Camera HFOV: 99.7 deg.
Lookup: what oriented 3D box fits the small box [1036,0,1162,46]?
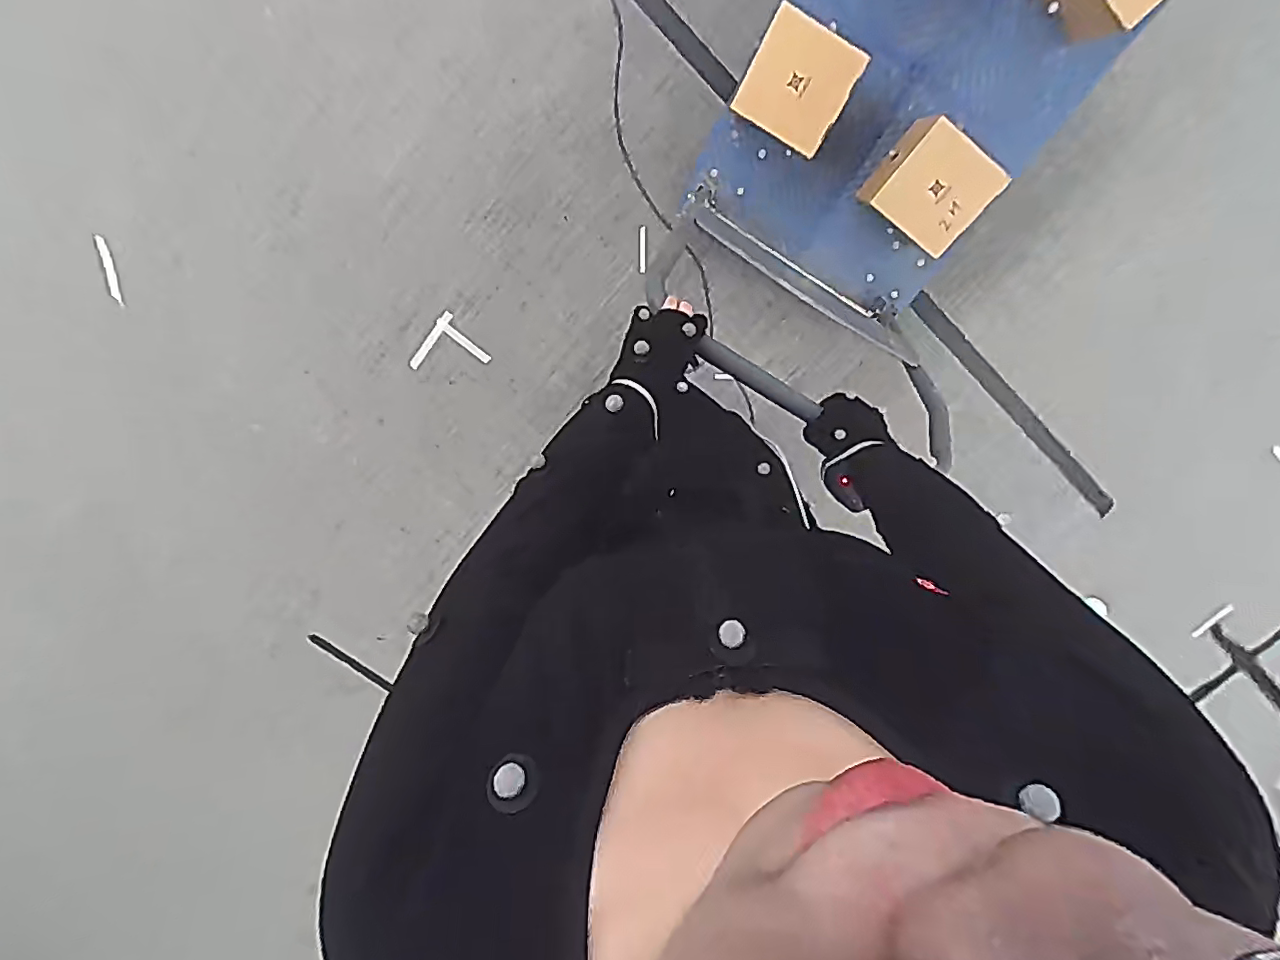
[{"bbox_3d":[0.756,-0.831,0.843,0.168,0.176,0.179,39,121,-14],"label":"small box"}]

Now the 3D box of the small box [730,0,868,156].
[{"bbox_3d":[0.280,-0.725,0.997,0.179,0.176,0.168,27,122,-8],"label":"small box"}]

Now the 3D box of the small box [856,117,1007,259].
[{"bbox_3d":[0.549,-0.562,1.046,0.179,0.176,0.168,34,121,-11],"label":"small box"}]
